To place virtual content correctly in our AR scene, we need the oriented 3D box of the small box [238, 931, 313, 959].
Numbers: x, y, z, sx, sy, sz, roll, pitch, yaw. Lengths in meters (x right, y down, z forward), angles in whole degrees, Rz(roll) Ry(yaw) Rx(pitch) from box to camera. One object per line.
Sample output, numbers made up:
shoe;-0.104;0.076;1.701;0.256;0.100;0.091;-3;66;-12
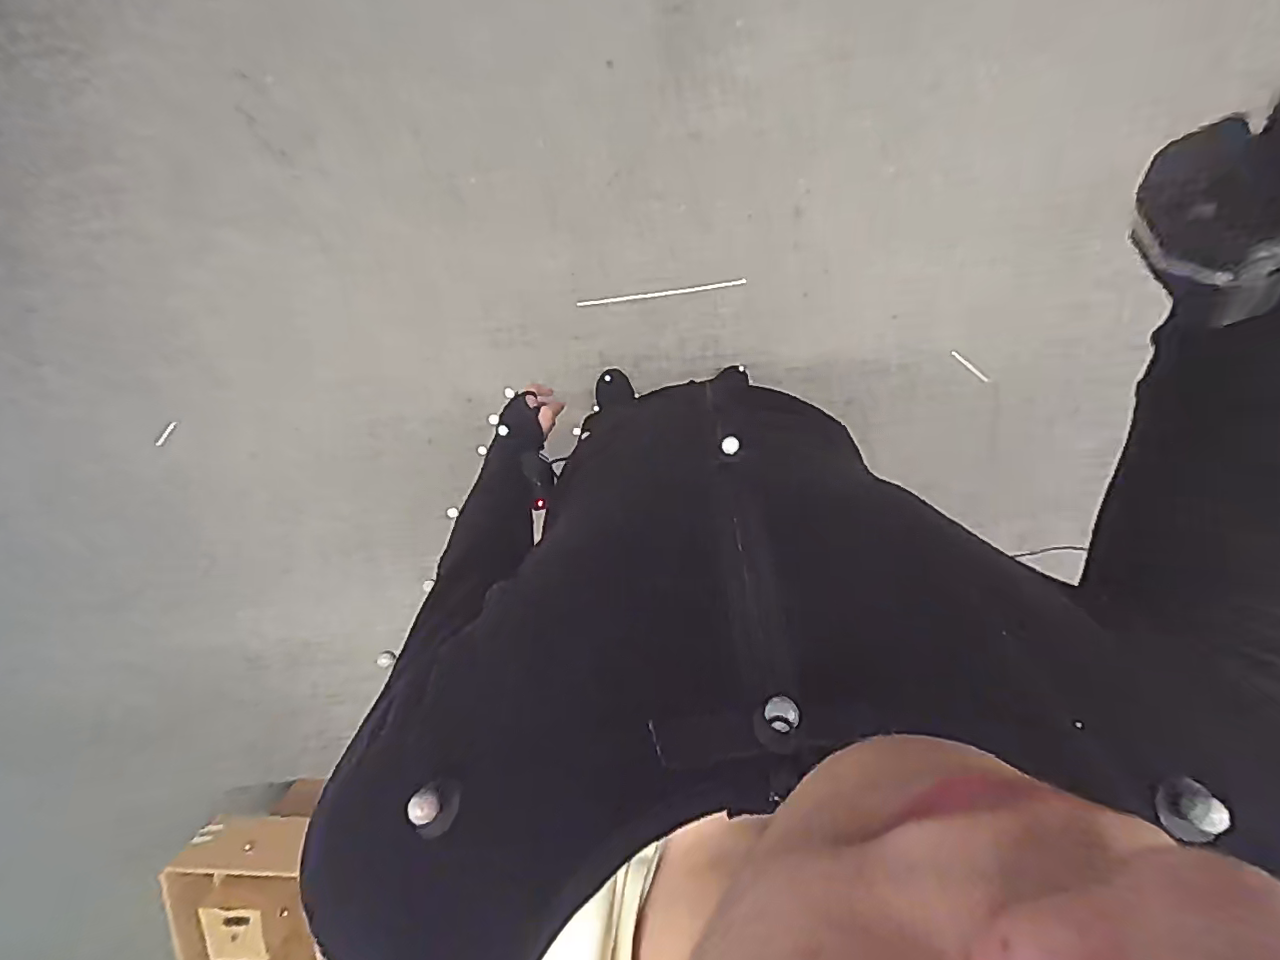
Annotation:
small box;-1.061;1.445;1.541;0.168;0.176;0.179;1;102;3
